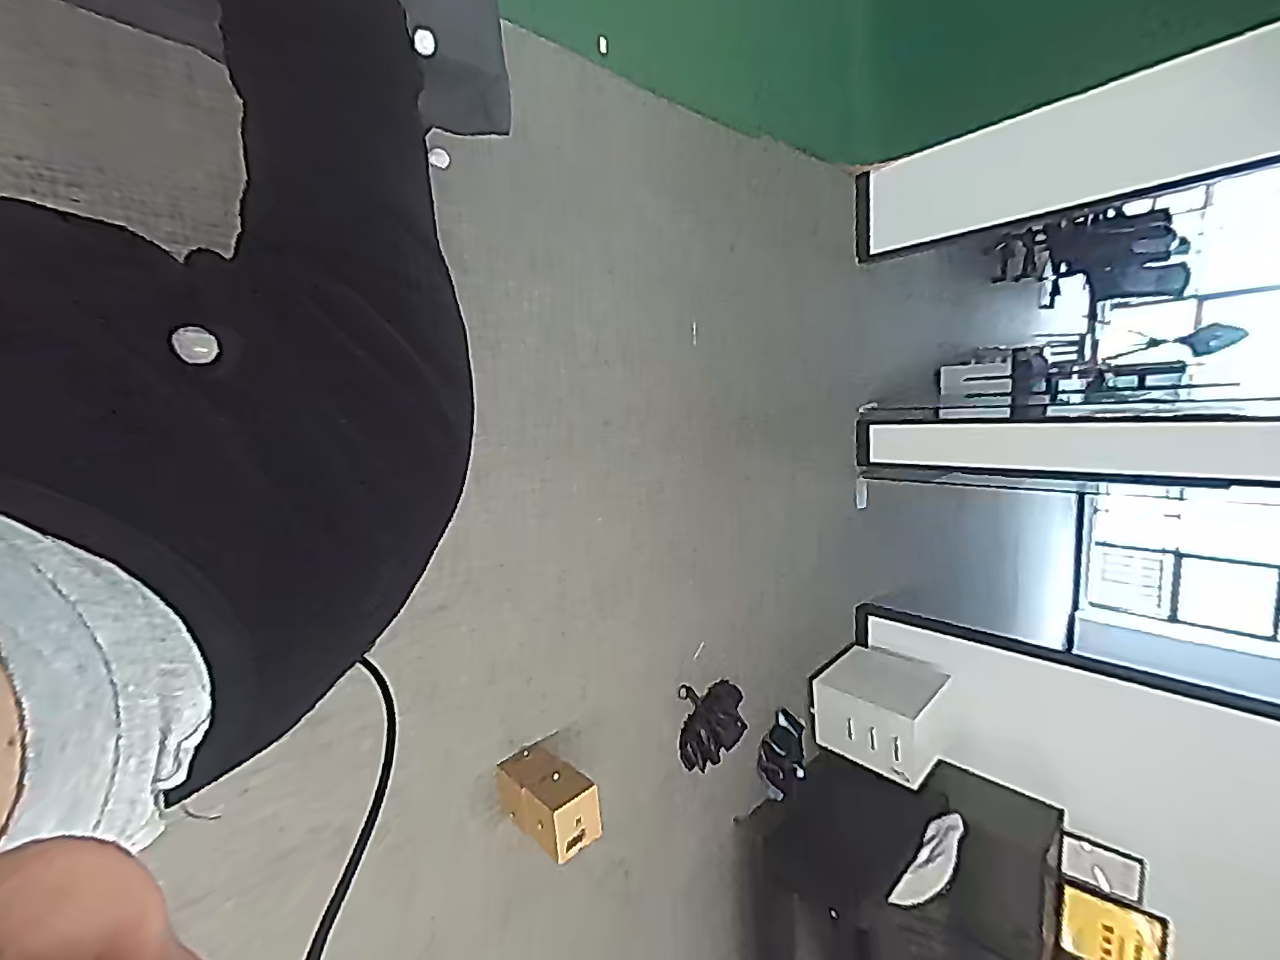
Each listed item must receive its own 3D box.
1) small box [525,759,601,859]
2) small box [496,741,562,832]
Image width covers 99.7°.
[{"bbox_3d":[-0.244,1.024,1.700,0.168,0.176,0.179,-13,102,-43],"label":"small box"},{"bbox_3d":[-0.362,1.019,1.814,0.168,0.176,0.179,-15,103,-43],"label":"small box"}]
